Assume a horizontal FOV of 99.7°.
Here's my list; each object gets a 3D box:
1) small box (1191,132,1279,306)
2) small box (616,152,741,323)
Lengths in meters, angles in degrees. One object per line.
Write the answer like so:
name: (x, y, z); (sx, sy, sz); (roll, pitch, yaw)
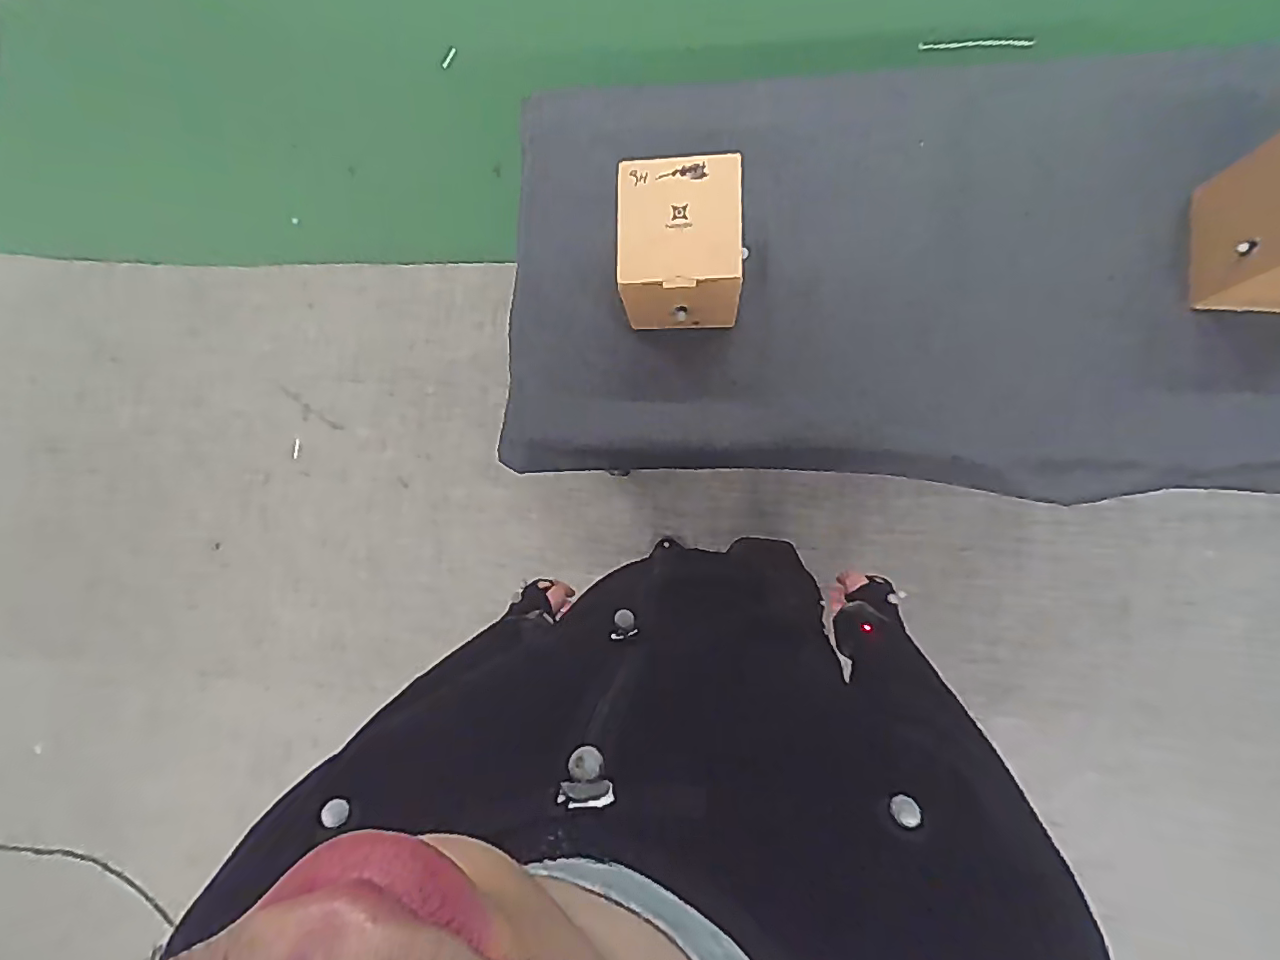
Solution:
small box: (0.861, -0.332, 0.687); (0.168, 0.176, 0.179); (4, 85, 7)
small box: (0.060, -0.337, 0.788); (0.168, 0.176, 0.179); (0, 85, 6)
